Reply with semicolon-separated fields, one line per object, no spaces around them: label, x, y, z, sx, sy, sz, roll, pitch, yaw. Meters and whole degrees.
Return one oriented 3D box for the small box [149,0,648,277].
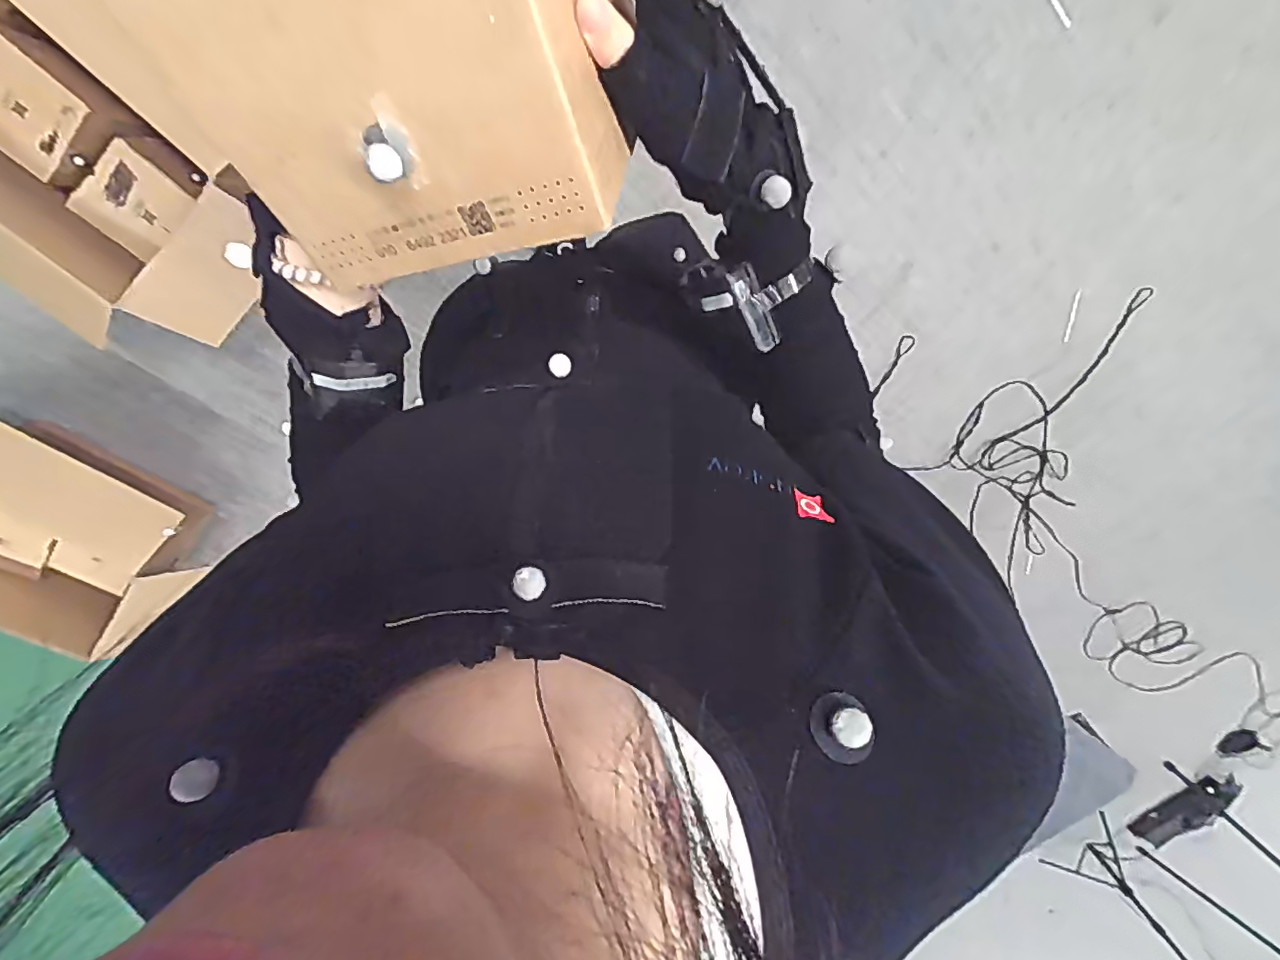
small box;-0.100;-0.230;0.264;0.168;0.179;0.176;-5;142;18
